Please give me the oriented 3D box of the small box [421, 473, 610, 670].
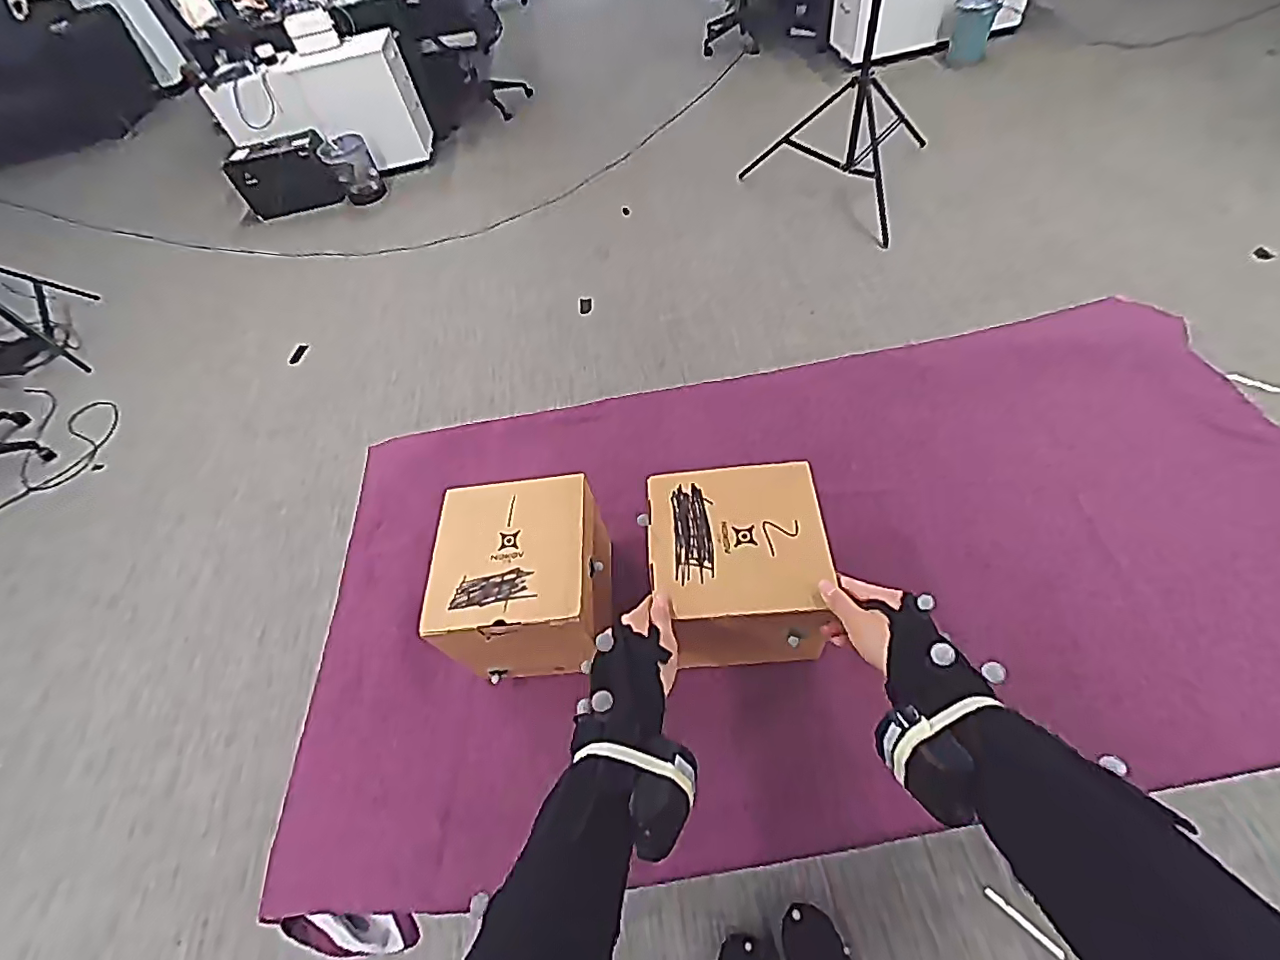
[{"bbox_3d":[-0.130,0.117,0.641,0.168,0.176,0.179,-6,54,5],"label":"small box"}]
